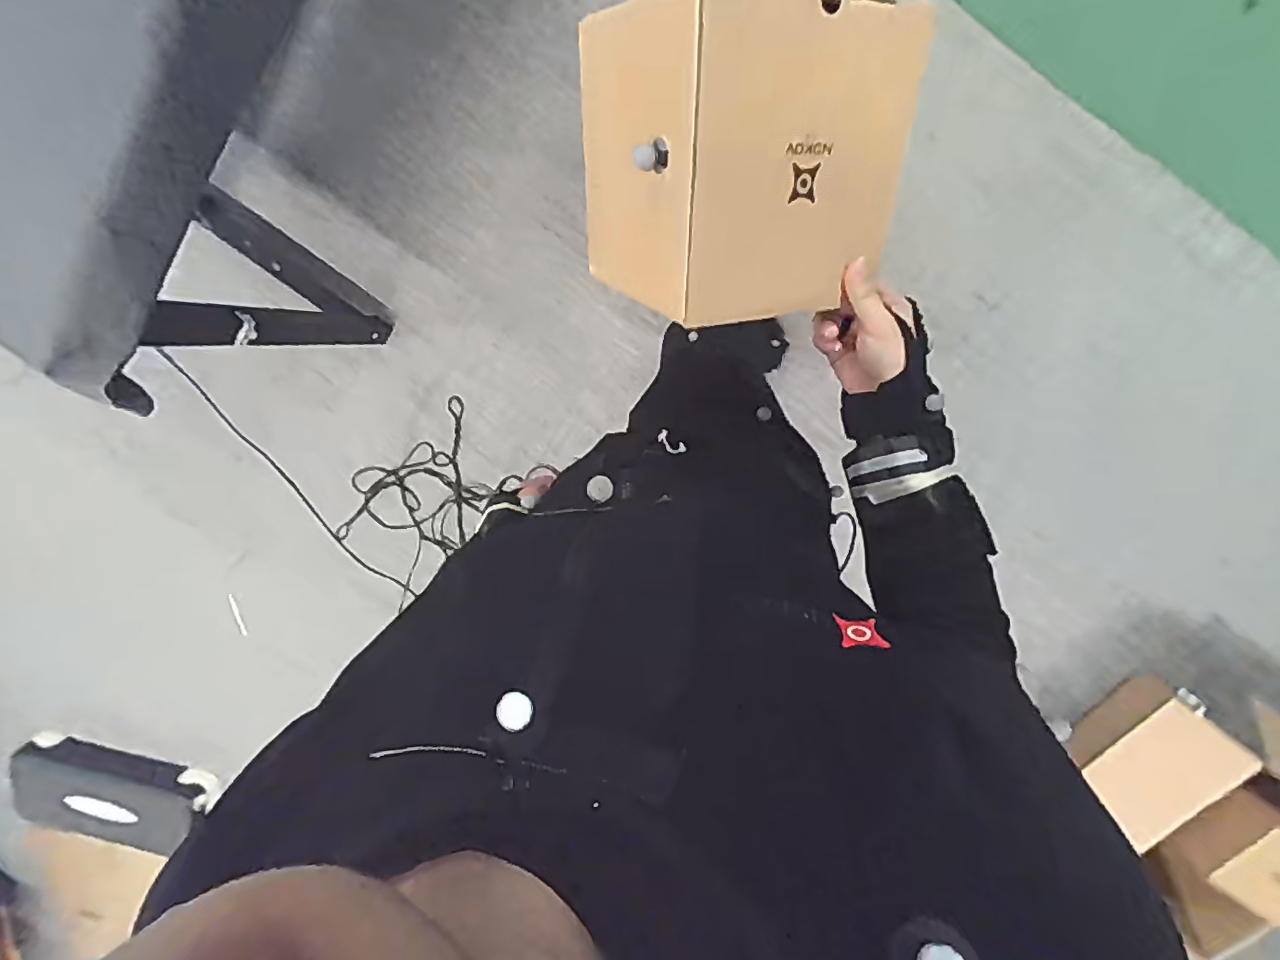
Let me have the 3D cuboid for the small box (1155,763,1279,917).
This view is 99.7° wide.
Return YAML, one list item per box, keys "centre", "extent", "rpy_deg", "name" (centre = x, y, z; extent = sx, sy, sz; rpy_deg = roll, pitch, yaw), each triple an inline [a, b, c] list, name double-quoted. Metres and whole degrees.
- centre: [1.225, 0.717, 1.089]
  extent: [0.179, 0.176, 0.168]
  rpy_deg: [33, 107, 0]
  name: "small box"

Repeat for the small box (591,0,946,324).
- centre: [0.070, -0.227, 0.391]
  extent: [0.168, 0.176, 0.179]
  rpy_deg: [-13, 124, -22]
  name: "small box"
